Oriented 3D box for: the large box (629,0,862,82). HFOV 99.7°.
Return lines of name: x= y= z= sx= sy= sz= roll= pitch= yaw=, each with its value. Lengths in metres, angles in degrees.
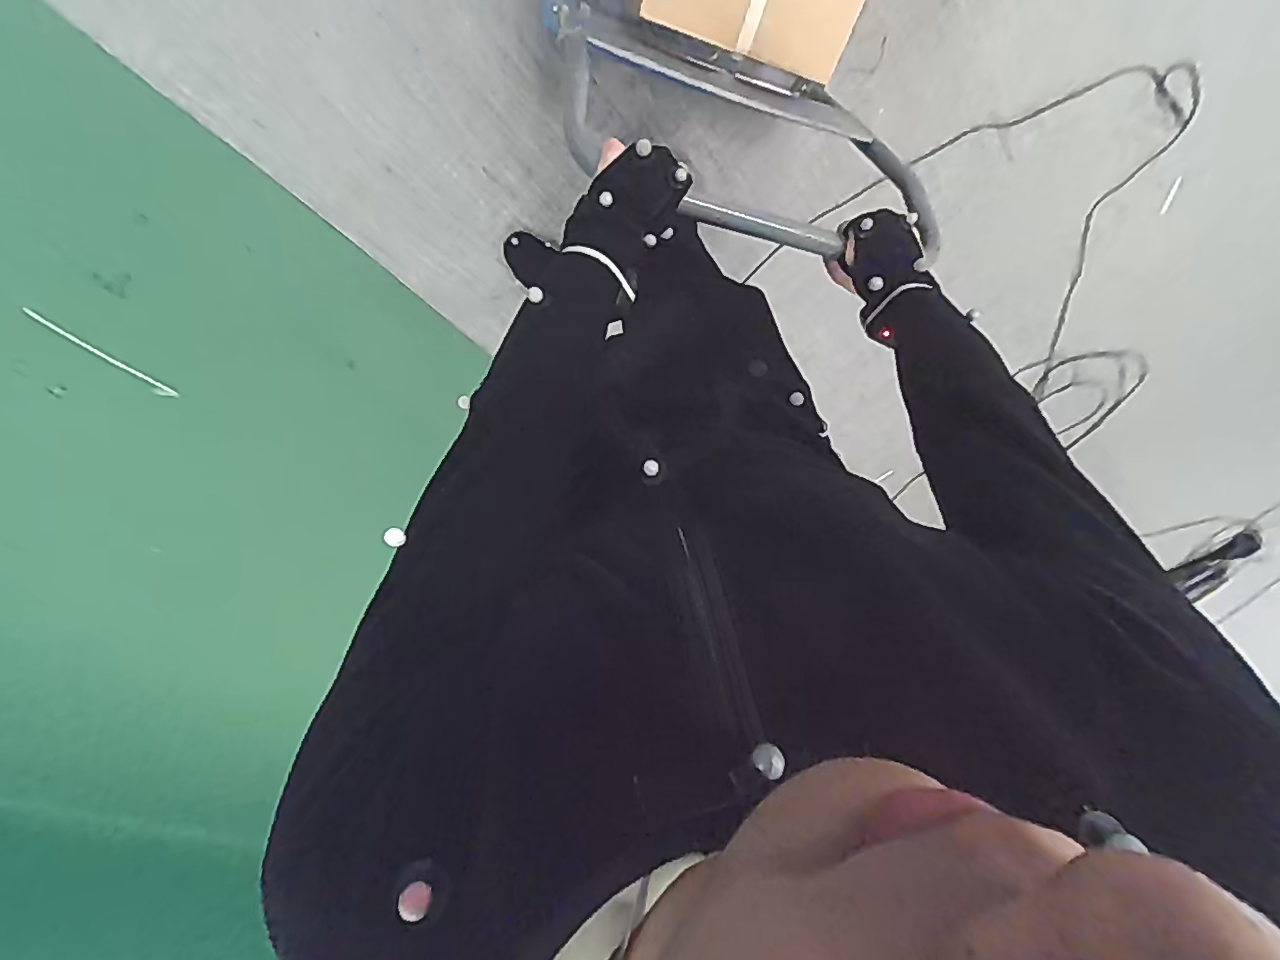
large box: x=0.183 y=-0.878 z=0.780 sx=0.320 sy=0.320 sz=0.408 roll=7 pitch=133 yaw=-16
